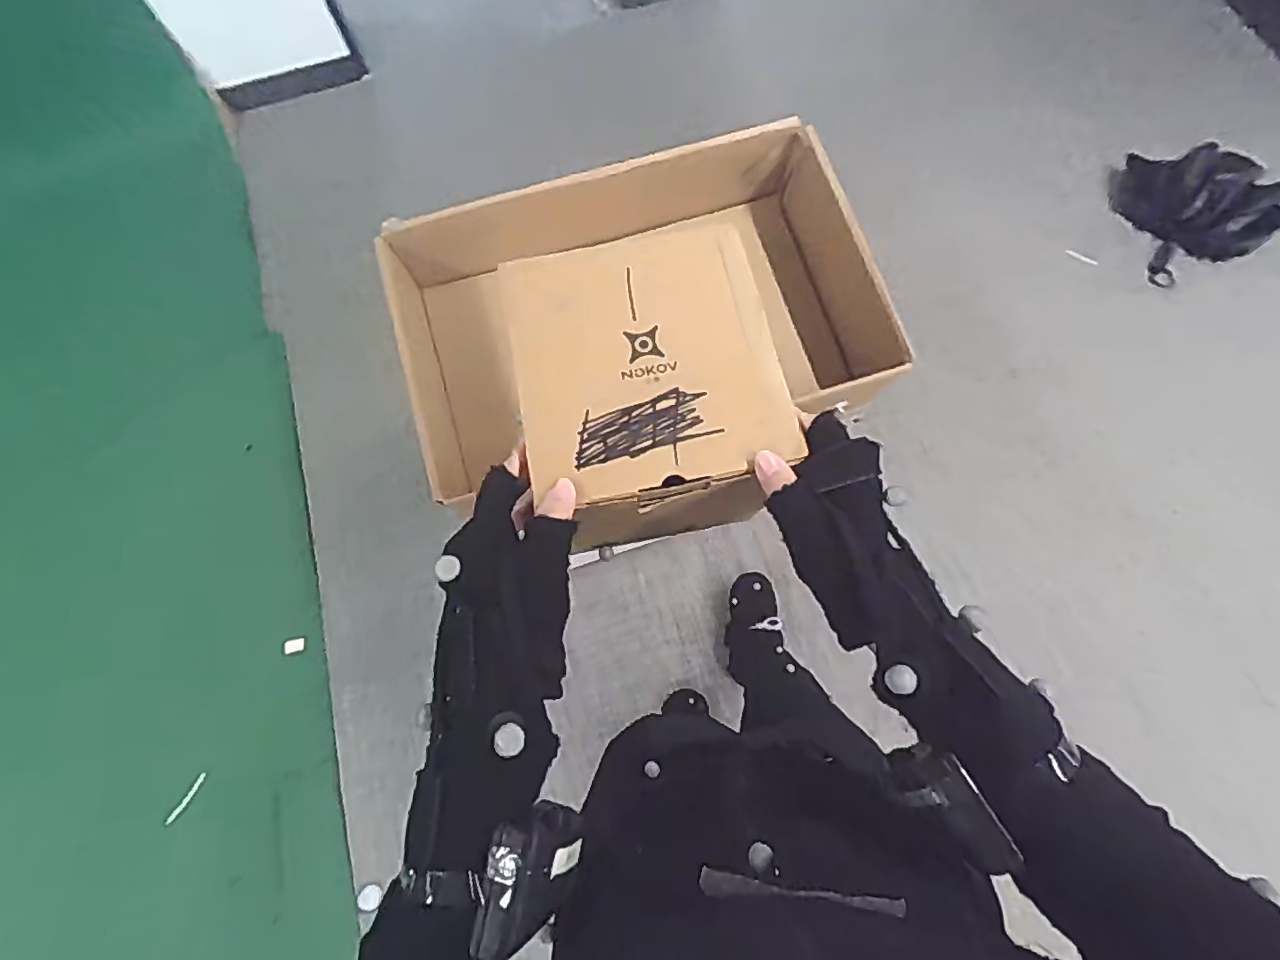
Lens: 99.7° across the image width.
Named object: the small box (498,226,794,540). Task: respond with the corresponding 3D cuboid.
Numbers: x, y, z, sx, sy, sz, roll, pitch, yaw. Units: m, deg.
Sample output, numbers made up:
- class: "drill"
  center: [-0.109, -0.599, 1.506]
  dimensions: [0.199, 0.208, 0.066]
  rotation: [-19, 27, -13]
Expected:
- class: "small box"
  center: [0.001, -0.057, 0.423]
  dimensions: [0.168, 0.176, 0.179]
  rotation: [-11, 74, -3]
